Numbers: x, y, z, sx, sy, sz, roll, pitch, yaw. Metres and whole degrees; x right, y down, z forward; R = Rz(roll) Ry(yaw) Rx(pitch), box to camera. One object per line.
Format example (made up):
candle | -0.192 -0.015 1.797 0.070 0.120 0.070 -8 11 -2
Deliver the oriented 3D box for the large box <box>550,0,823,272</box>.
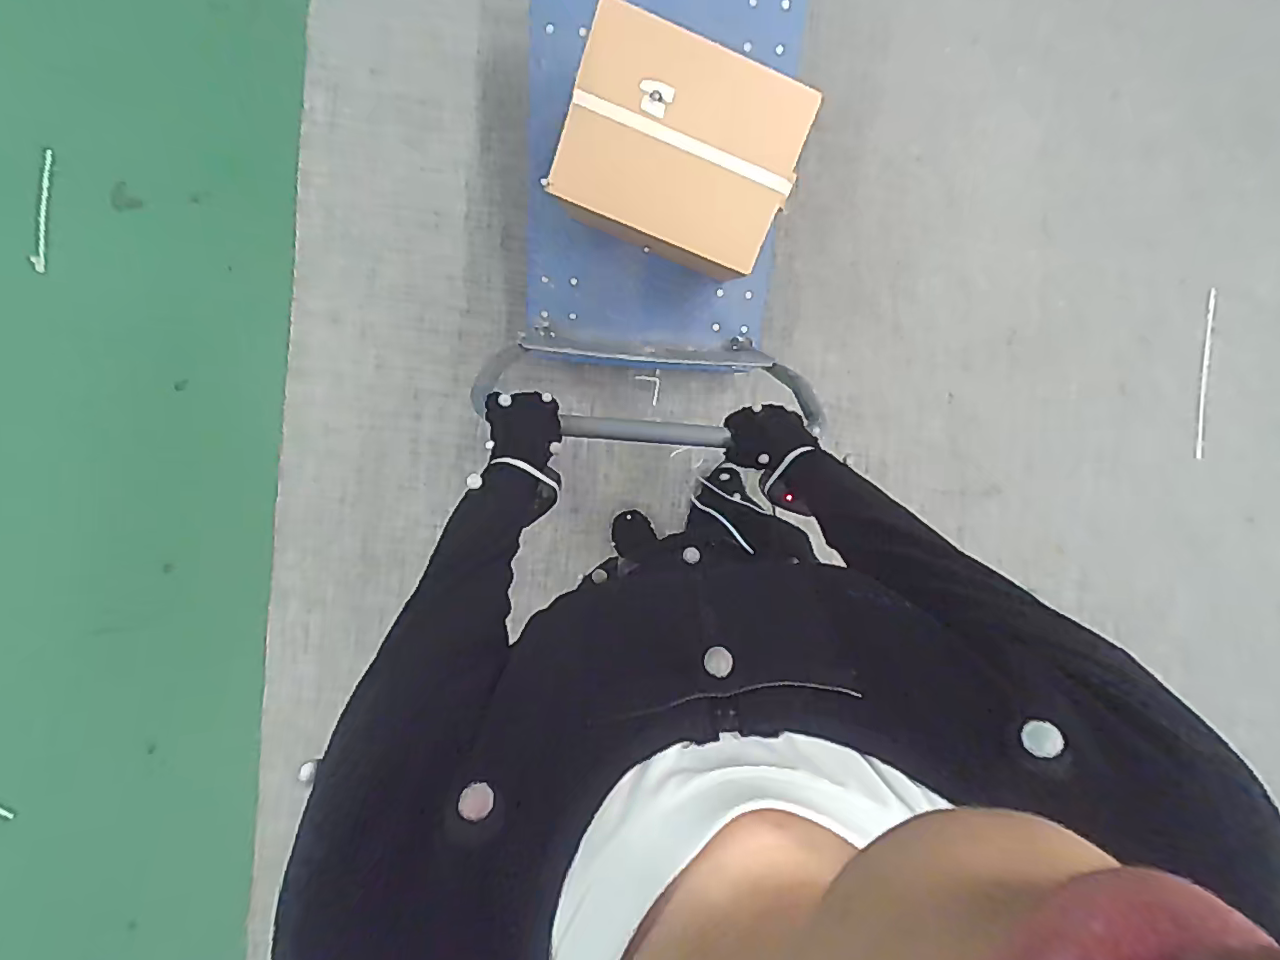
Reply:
large box | 0.081 -0.638 1.079 0.408 0.320 0.320 20 108 -5
